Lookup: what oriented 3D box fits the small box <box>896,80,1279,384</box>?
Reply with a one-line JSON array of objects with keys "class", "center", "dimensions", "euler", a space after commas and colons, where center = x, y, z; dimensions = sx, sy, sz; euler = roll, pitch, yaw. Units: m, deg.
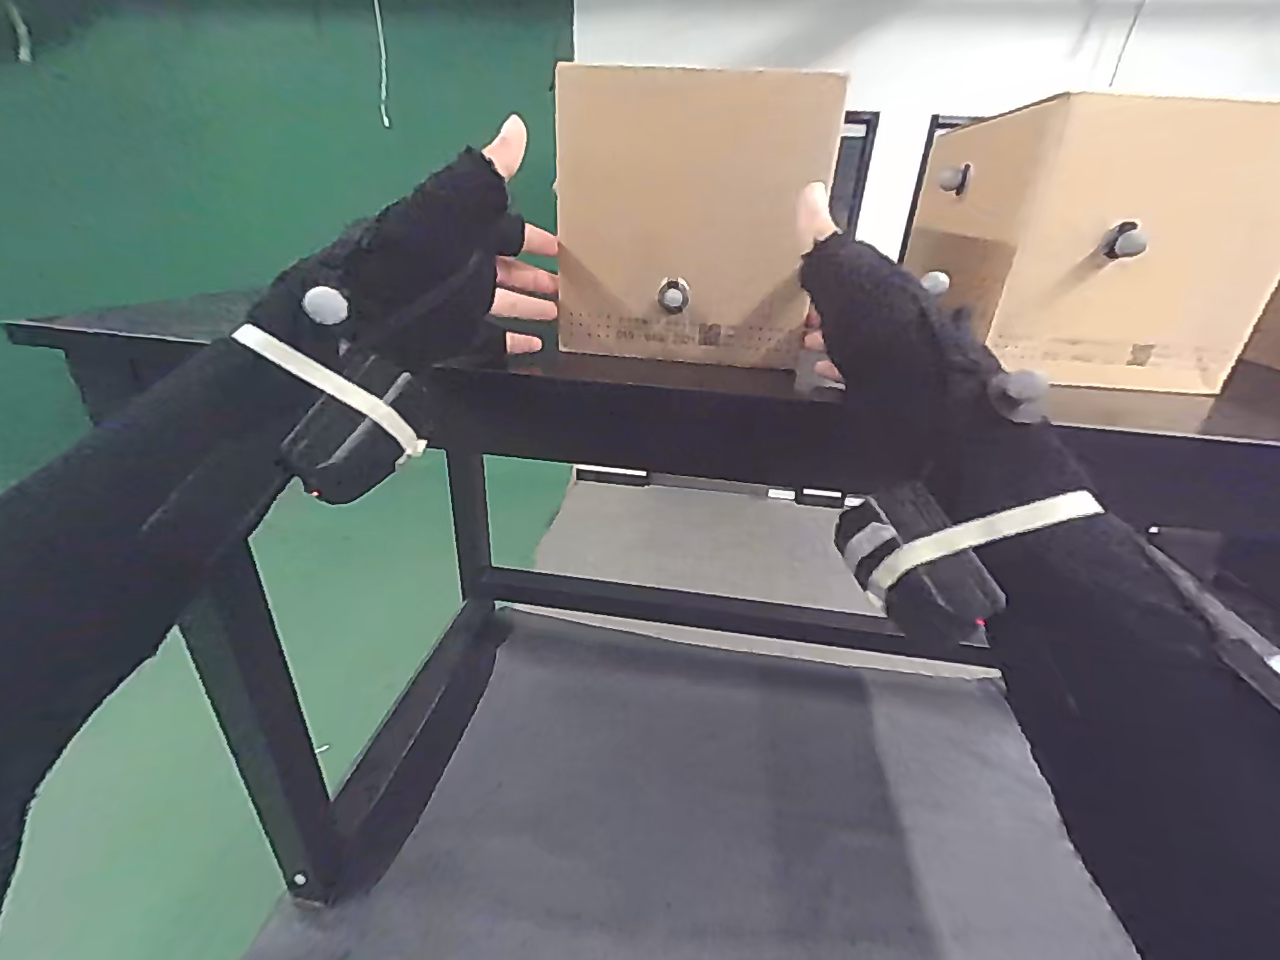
[{"class": "small box", "center": [0.319, -0.175, 0.403], "dimensions": [0.168, 0.176, 0.179], "euler": [4, 25, 2]}]
